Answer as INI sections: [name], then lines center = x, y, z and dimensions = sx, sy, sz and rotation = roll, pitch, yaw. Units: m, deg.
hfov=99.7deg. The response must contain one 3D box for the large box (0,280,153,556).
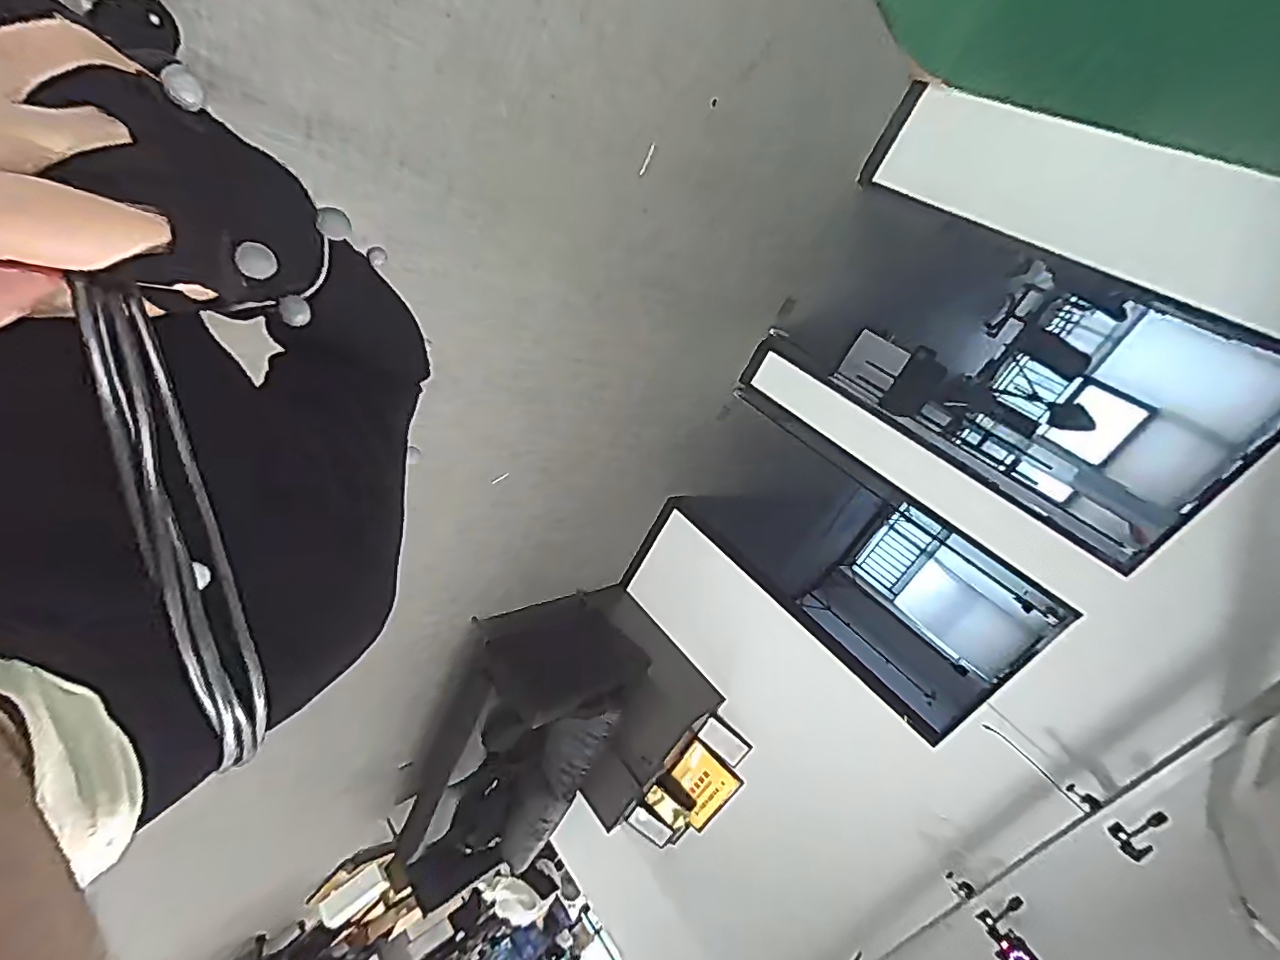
[large box]
center = -1.134, -0.117, 0.978
dimensions = 0.320, 0.320, 0.408
rotation = -4, 131, -52
